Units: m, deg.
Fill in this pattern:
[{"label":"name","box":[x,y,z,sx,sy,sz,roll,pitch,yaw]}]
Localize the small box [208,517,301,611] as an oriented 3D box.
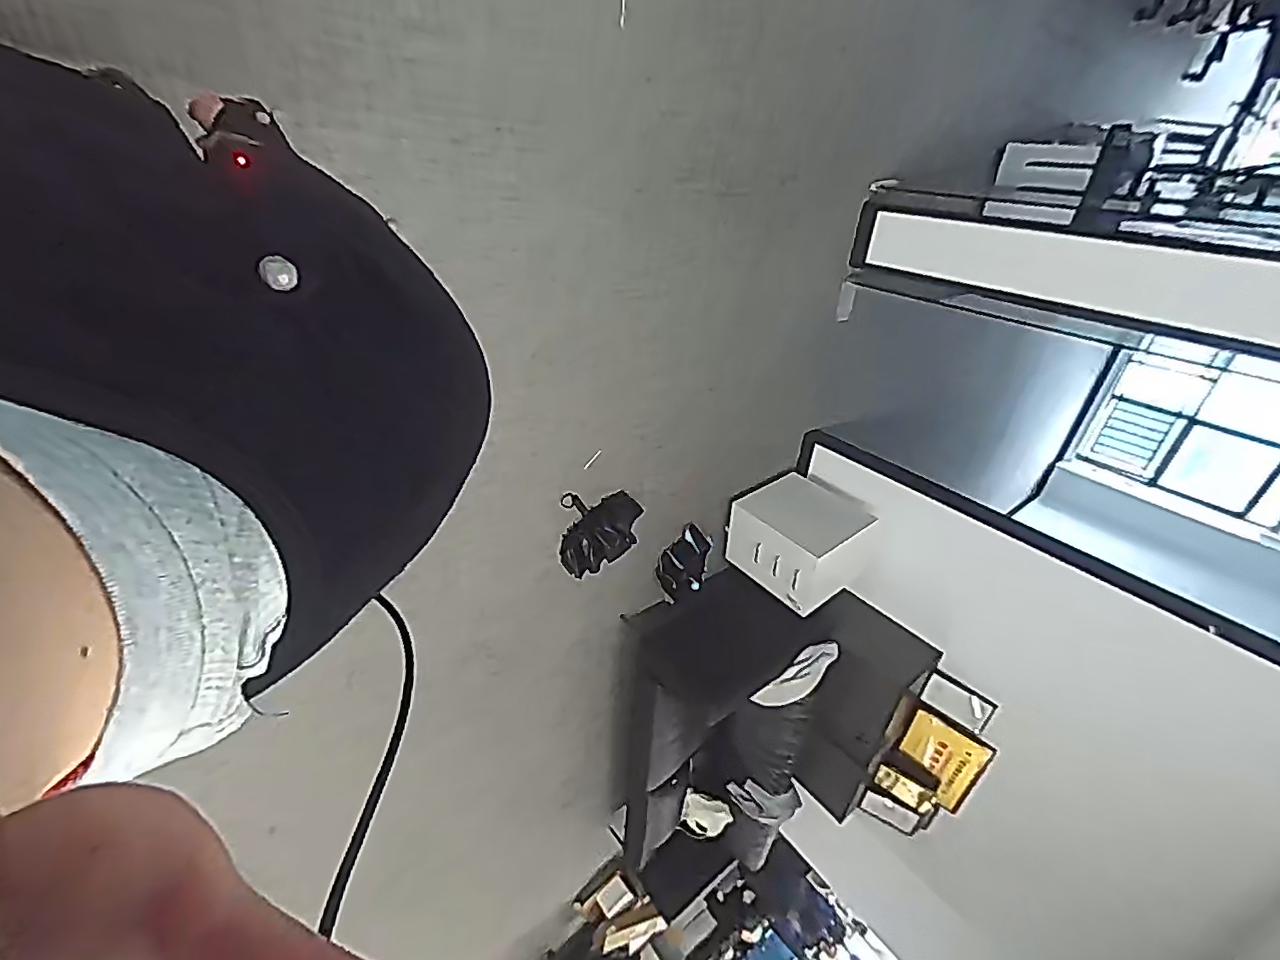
[{"label":"small box","box":[-1.037,0.217,1.458,0.179,0.176,0.168,-10,123,-38]}]
